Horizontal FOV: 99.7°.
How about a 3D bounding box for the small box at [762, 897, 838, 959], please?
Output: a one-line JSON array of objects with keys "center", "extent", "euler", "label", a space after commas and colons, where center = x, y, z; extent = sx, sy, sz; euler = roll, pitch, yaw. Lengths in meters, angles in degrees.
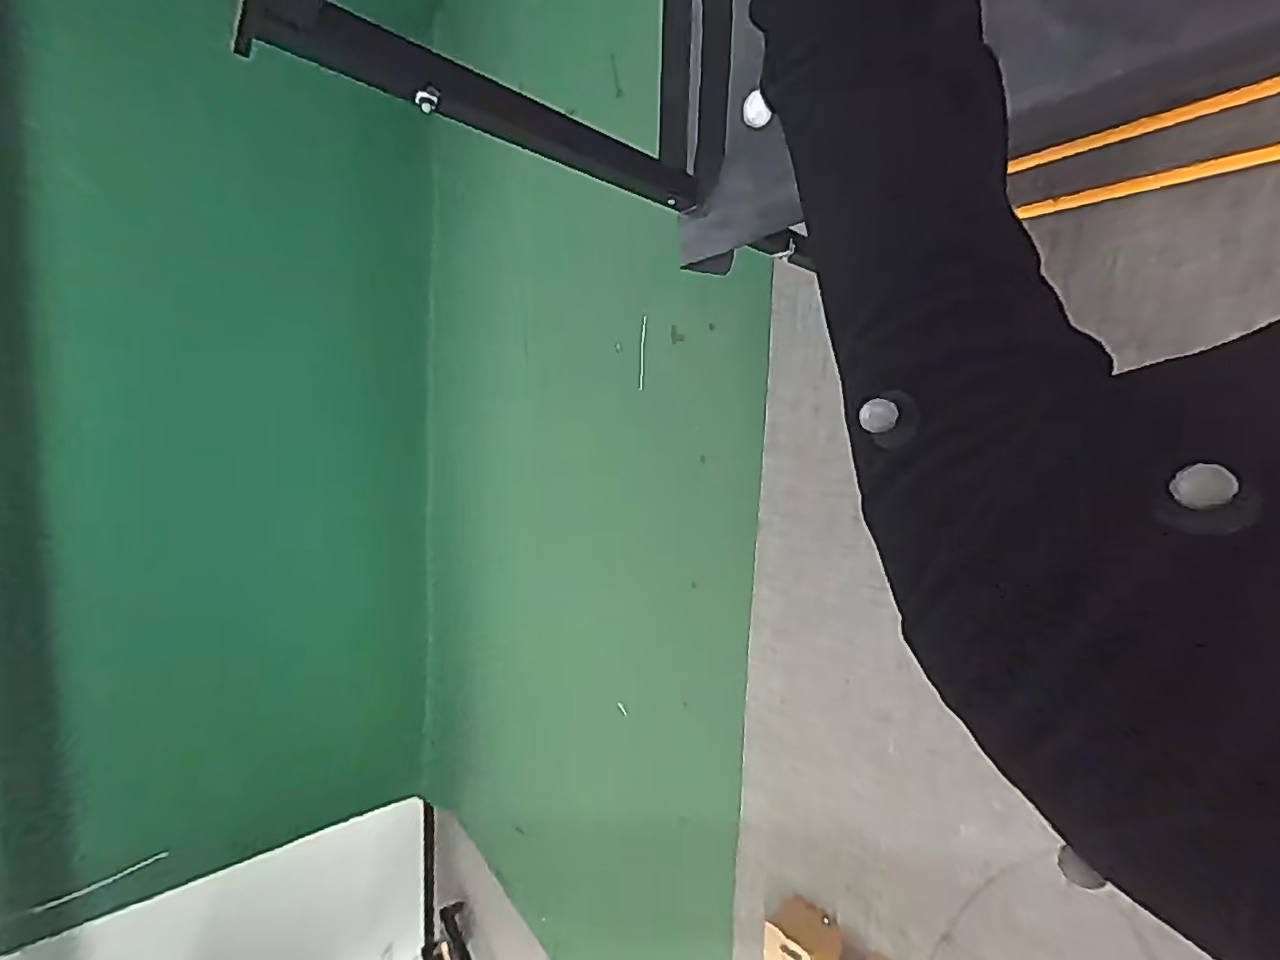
[{"center": [0.500, 1.468, 1.689], "extent": [0.168, 0.176, 0.179], "euler": [6, 96, 50], "label": "small box"}]
